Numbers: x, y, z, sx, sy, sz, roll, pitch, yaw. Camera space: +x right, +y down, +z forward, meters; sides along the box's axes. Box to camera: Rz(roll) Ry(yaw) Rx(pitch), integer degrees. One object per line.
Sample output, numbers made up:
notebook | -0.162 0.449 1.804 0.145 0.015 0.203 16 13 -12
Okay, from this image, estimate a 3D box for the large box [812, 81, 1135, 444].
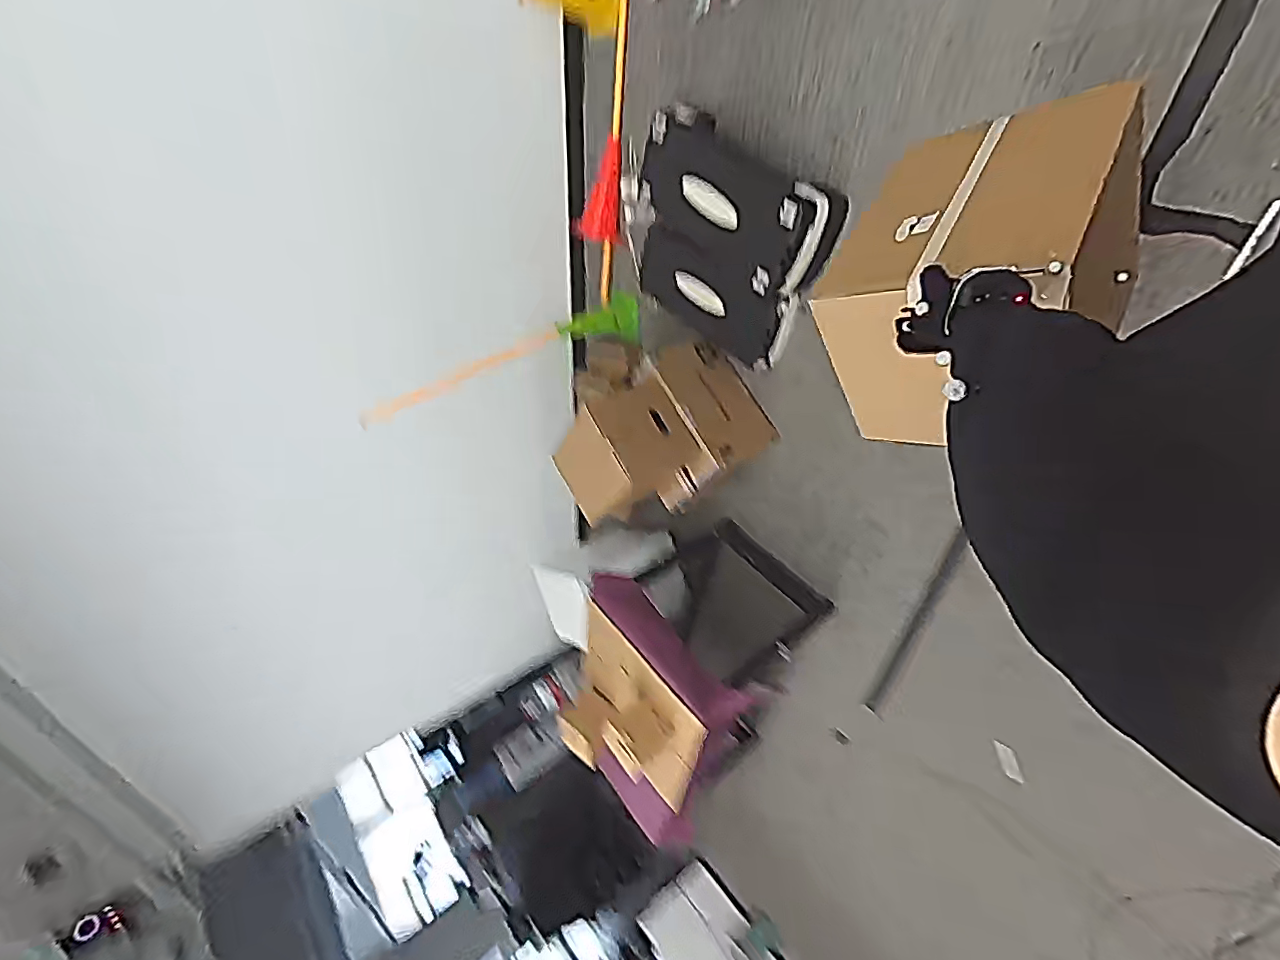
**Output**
large box | 0.536 -0.317 0.858 0.320 0.408 0.320 12 151 47
